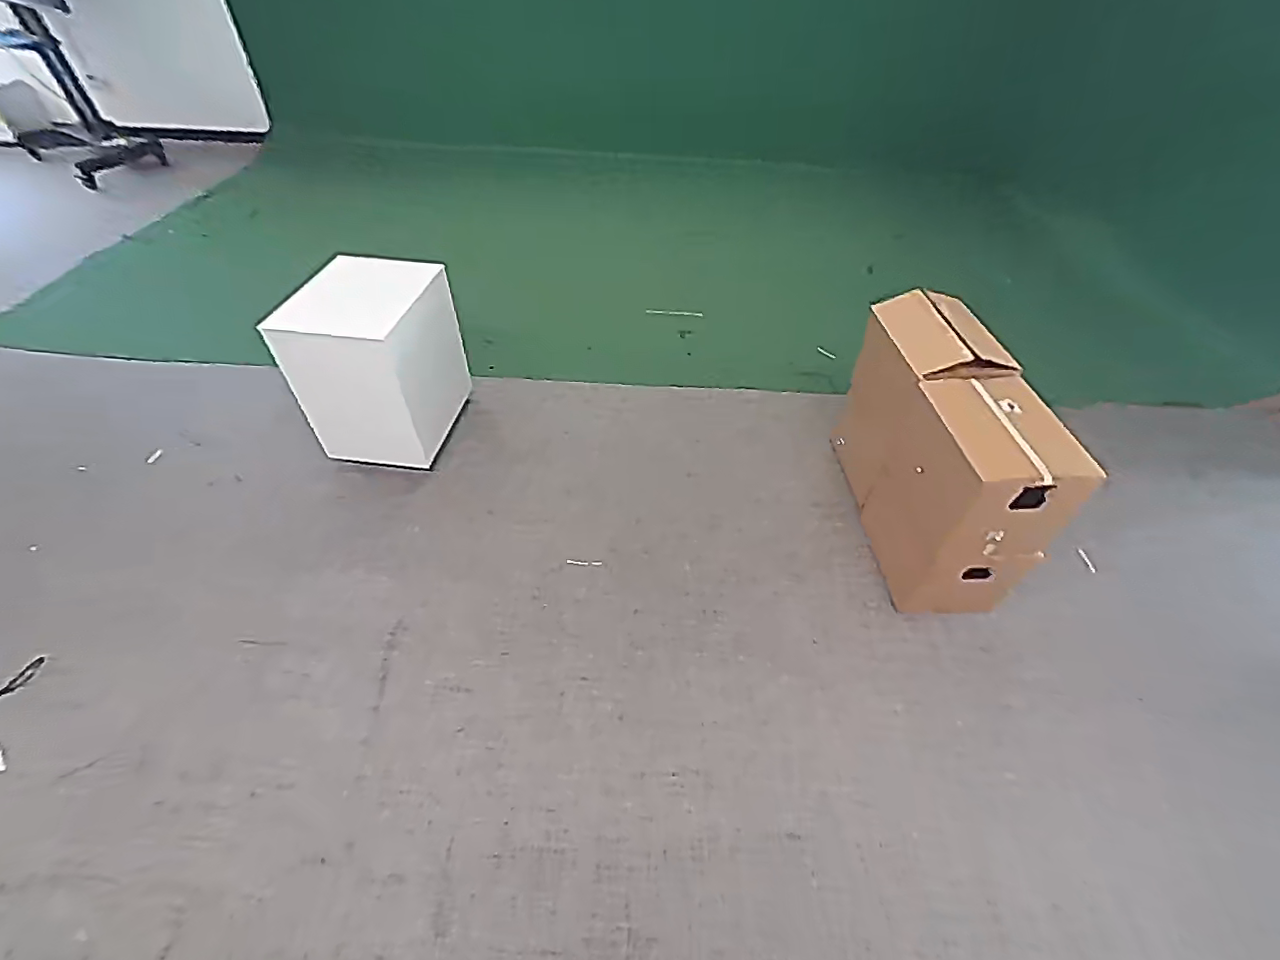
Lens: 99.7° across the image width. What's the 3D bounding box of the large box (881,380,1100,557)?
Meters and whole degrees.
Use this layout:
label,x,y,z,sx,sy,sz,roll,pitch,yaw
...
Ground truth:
label,x,y,z,sx,sy,sz,roll,pitch,yaw
large box,0.946,-0.036,1.534,0.320,0.320,0.408,-2,46,-2
